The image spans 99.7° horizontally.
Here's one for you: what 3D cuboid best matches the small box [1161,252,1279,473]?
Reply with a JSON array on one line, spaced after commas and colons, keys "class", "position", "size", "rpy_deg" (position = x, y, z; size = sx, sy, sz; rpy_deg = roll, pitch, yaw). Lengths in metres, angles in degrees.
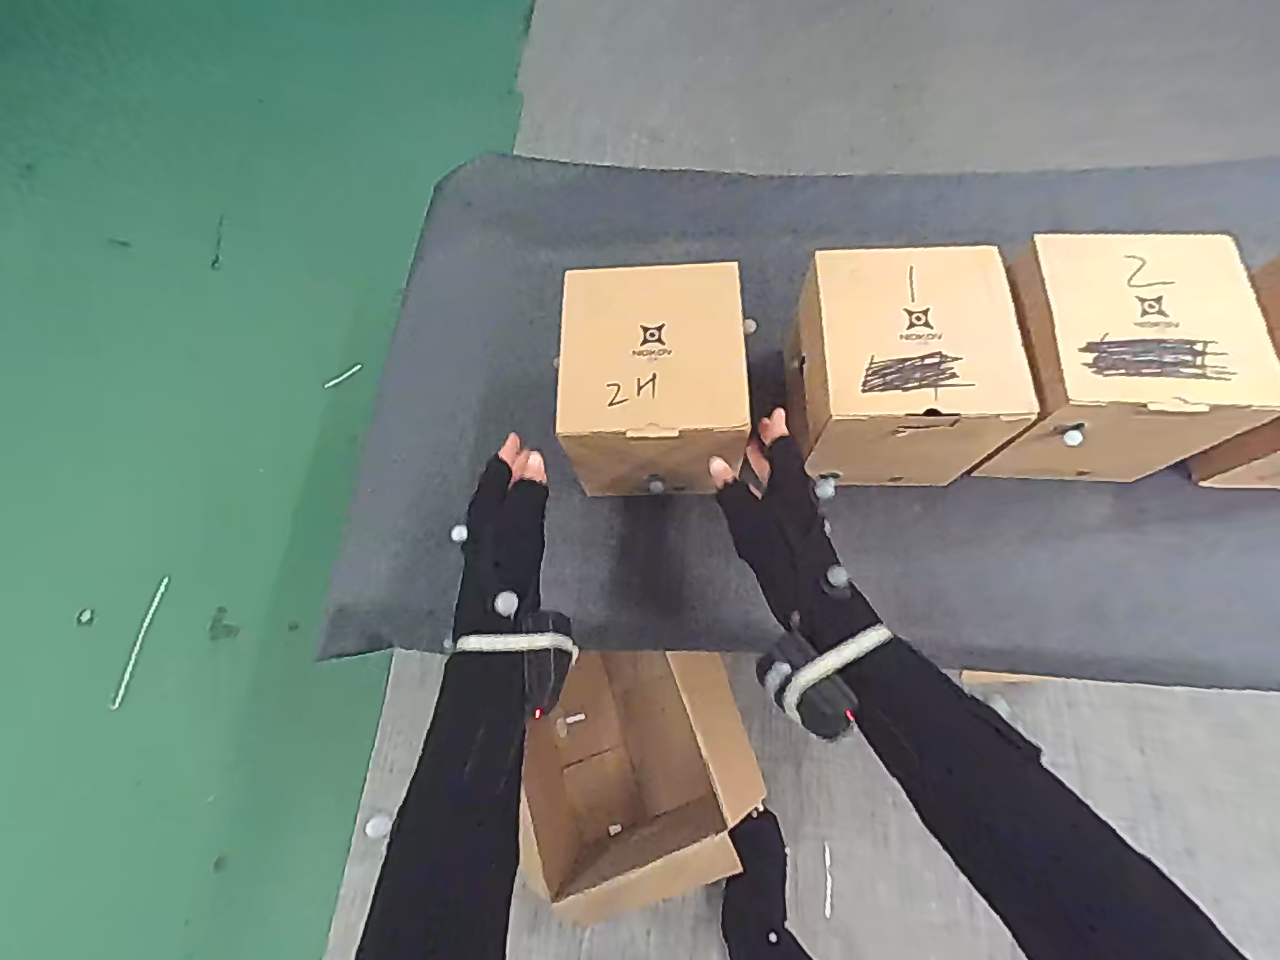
[{"class": "small box", "position": [0.658, -0.115, 0.510], "size": [0.168, 0.176, 0.179], "rpy_deg": [1, 71, 5]}]
